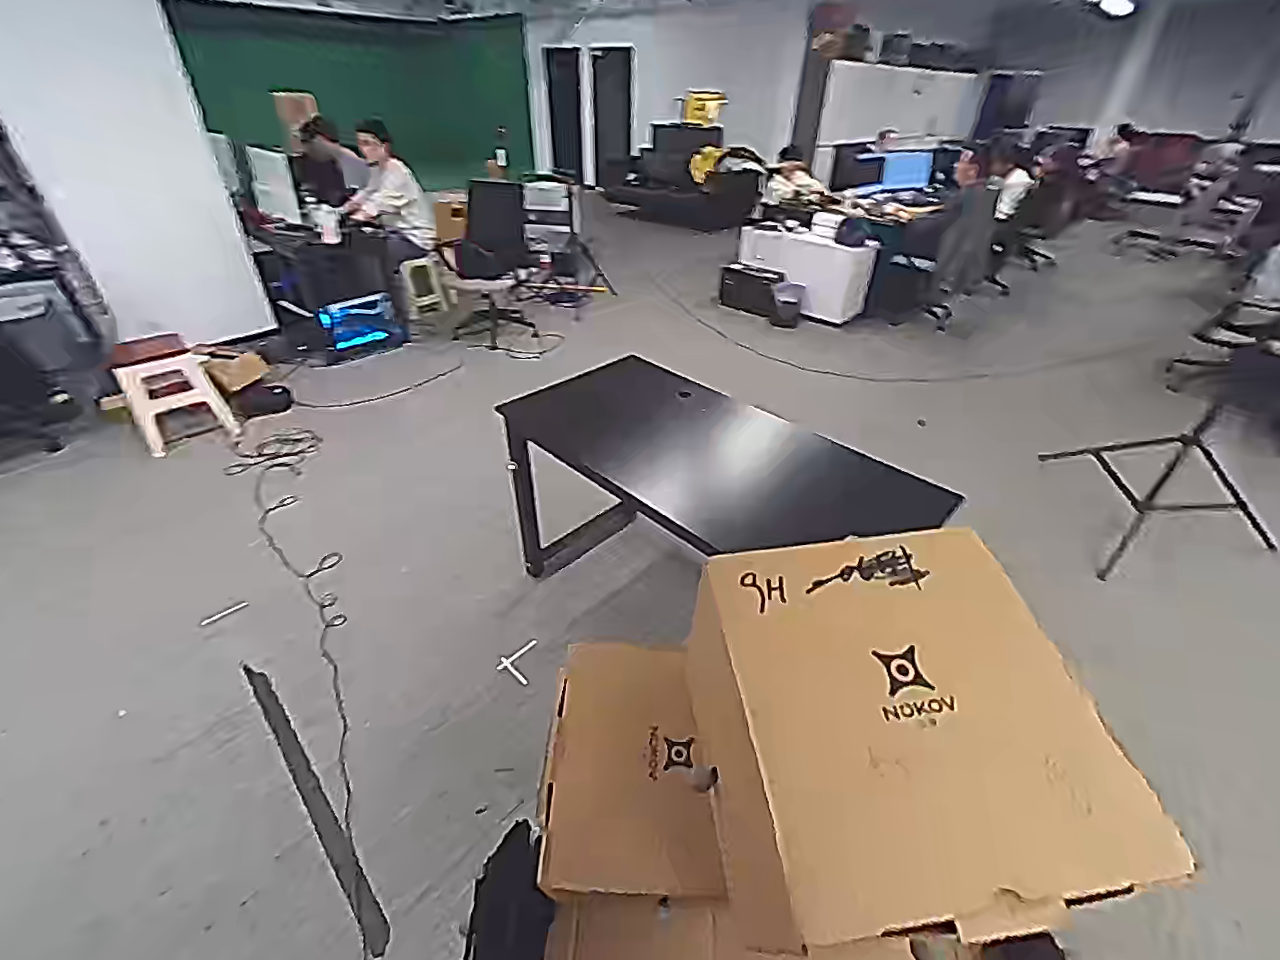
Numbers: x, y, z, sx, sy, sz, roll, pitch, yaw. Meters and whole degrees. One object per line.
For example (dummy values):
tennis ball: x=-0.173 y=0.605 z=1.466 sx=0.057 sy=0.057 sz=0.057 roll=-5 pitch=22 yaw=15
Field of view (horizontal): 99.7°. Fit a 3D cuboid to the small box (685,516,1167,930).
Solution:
small box: x=0.126 y=0.147 z=0.328 sx=0.168 sy=0.176 sz=0.179 roll=-6 pitch=50 yaw=-6
